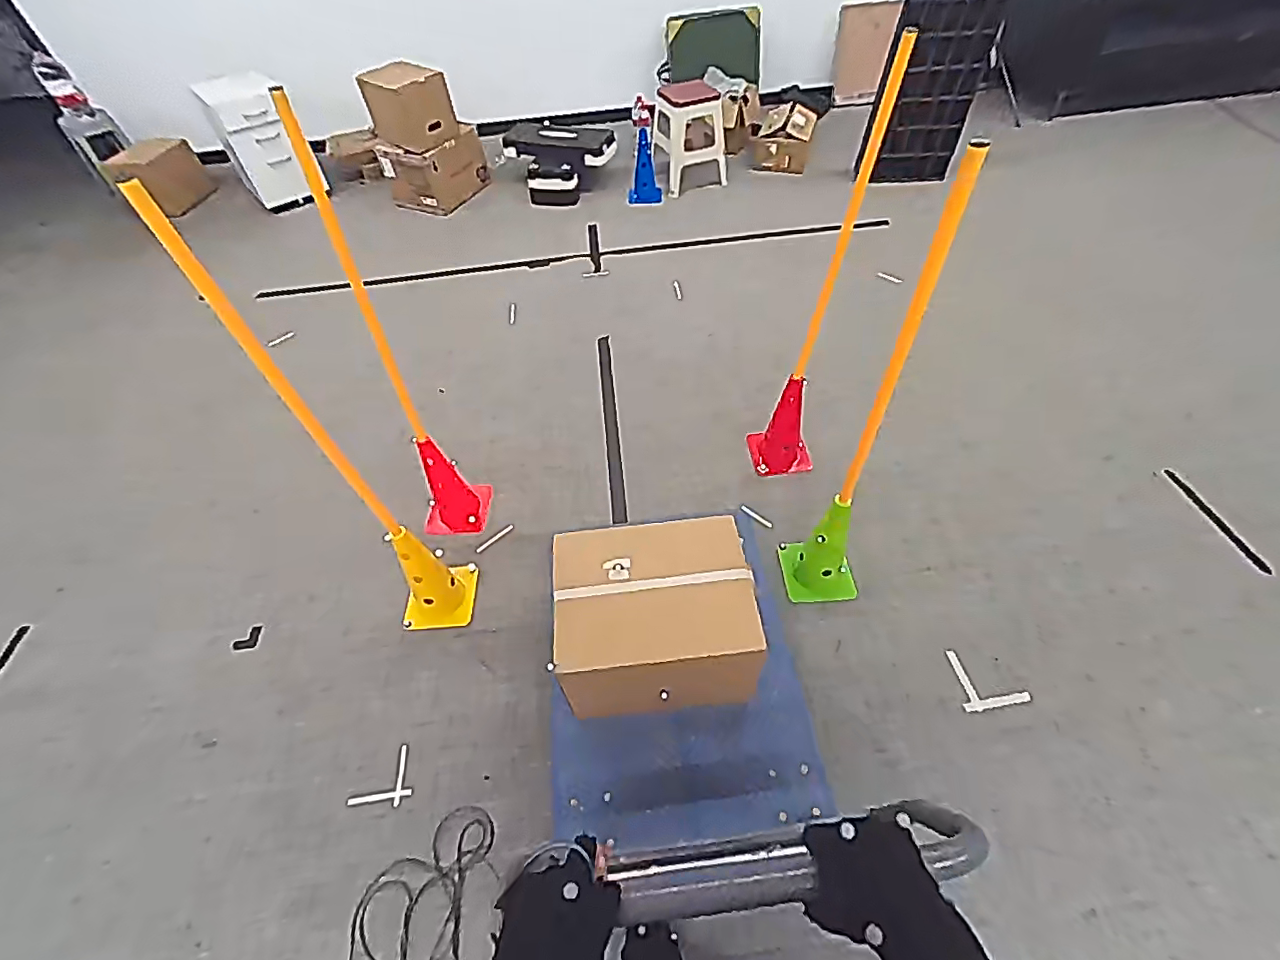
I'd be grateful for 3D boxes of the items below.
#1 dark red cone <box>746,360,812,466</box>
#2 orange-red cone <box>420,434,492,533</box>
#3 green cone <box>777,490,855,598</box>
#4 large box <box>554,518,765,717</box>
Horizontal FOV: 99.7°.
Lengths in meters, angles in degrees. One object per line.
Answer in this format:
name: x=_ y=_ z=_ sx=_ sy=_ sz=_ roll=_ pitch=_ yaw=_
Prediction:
dark red cone: x=0.487 y=-0.229 z=1.794 sx=0.201 sy=0.394 sz=0.202 roll=-6 pitch=51 yaw=-3
orange-red cone: x=-0.623 y=-0.011 z=1.720 sx=0.198 sy=0.360 sz=0.199 roll=-1 pitch=50 yaw=2
green cone: x=0.523 y=0.157 z=1.502 sx=0.202 sy=0.368 sz=0.200 roll=-3 pitch=51 yaw=0
large box: x=0.034 y=0.317 z=1.223 sx=0.408 sy=0.320 sz=0.320 roll=-7 pitch=51 yaw=-1
